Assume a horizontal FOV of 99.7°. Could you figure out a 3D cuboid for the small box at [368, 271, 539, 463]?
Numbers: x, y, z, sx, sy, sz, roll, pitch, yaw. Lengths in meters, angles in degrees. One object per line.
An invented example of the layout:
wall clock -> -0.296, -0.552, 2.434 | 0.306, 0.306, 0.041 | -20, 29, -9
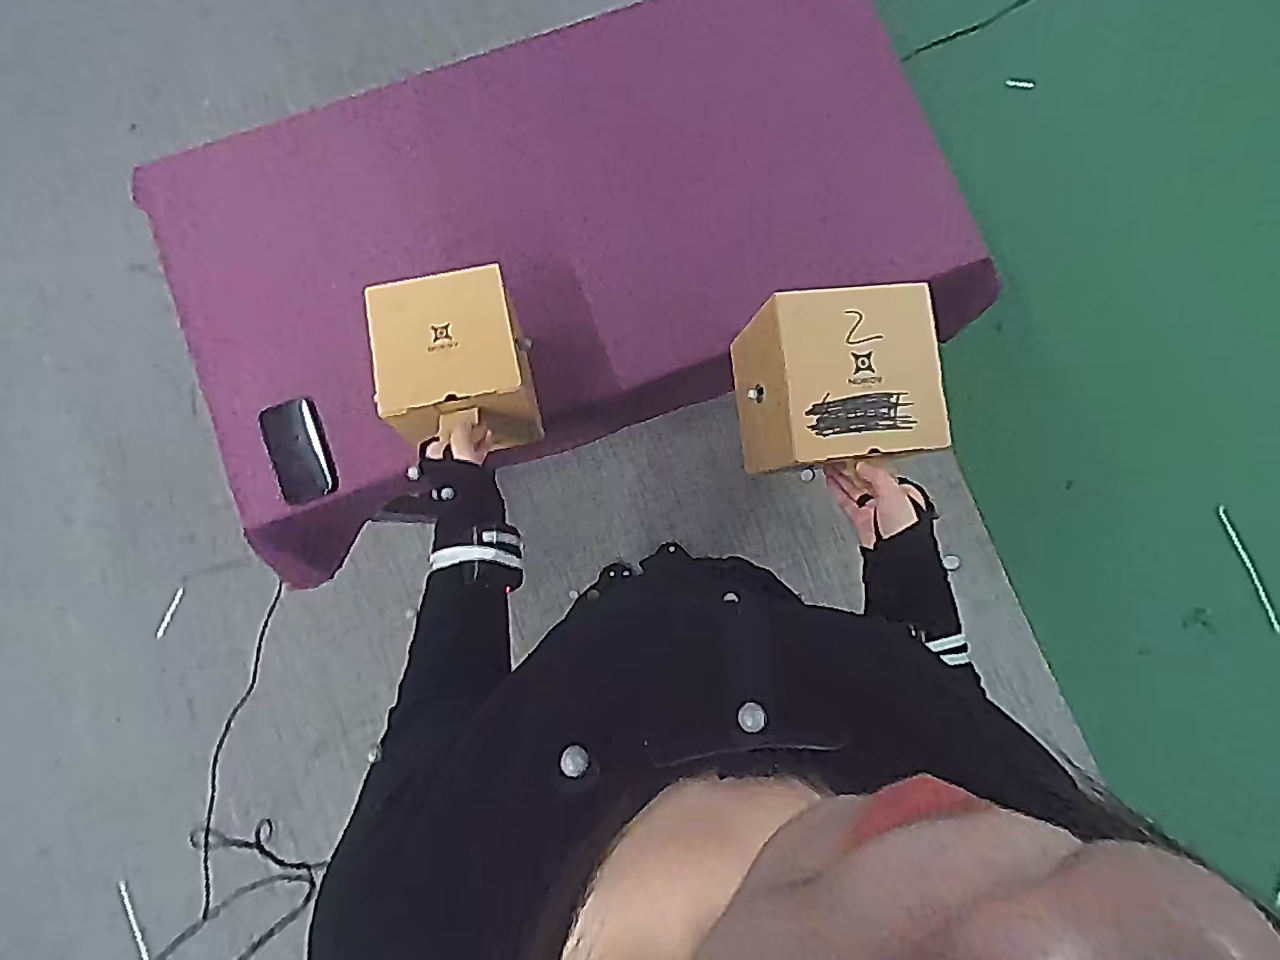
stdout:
small box -> -0.236, -0.141, 0.714 | 0.168, 0.176, 0.179 | -12, 75, -6
